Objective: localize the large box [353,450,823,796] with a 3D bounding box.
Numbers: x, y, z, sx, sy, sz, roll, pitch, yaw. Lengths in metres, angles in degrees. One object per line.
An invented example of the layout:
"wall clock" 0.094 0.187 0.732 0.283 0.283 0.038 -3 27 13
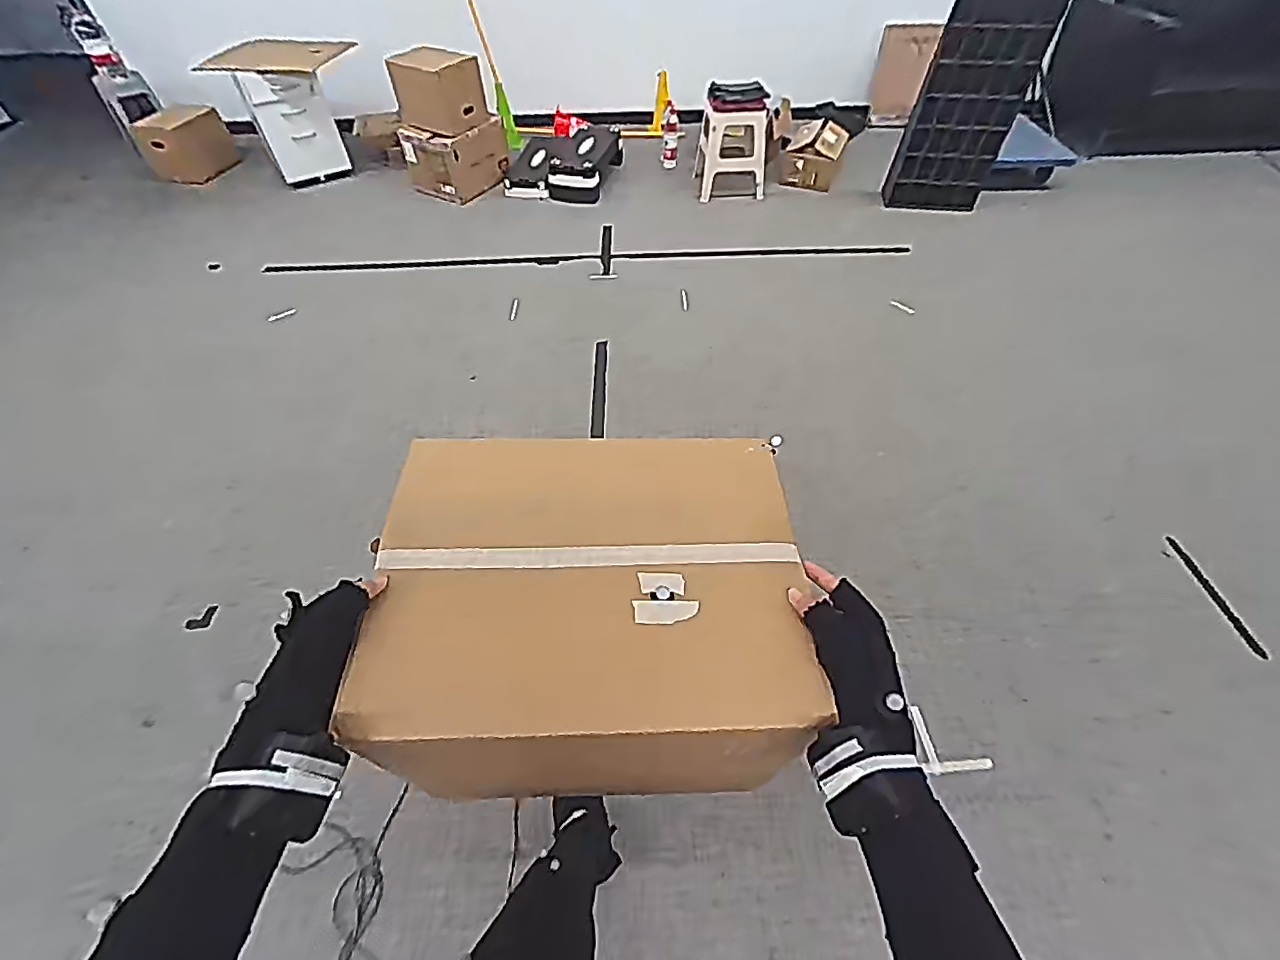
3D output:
"large box" -0.053 0.177 0.659 0.408 0.320 0.320 0 53 -3
